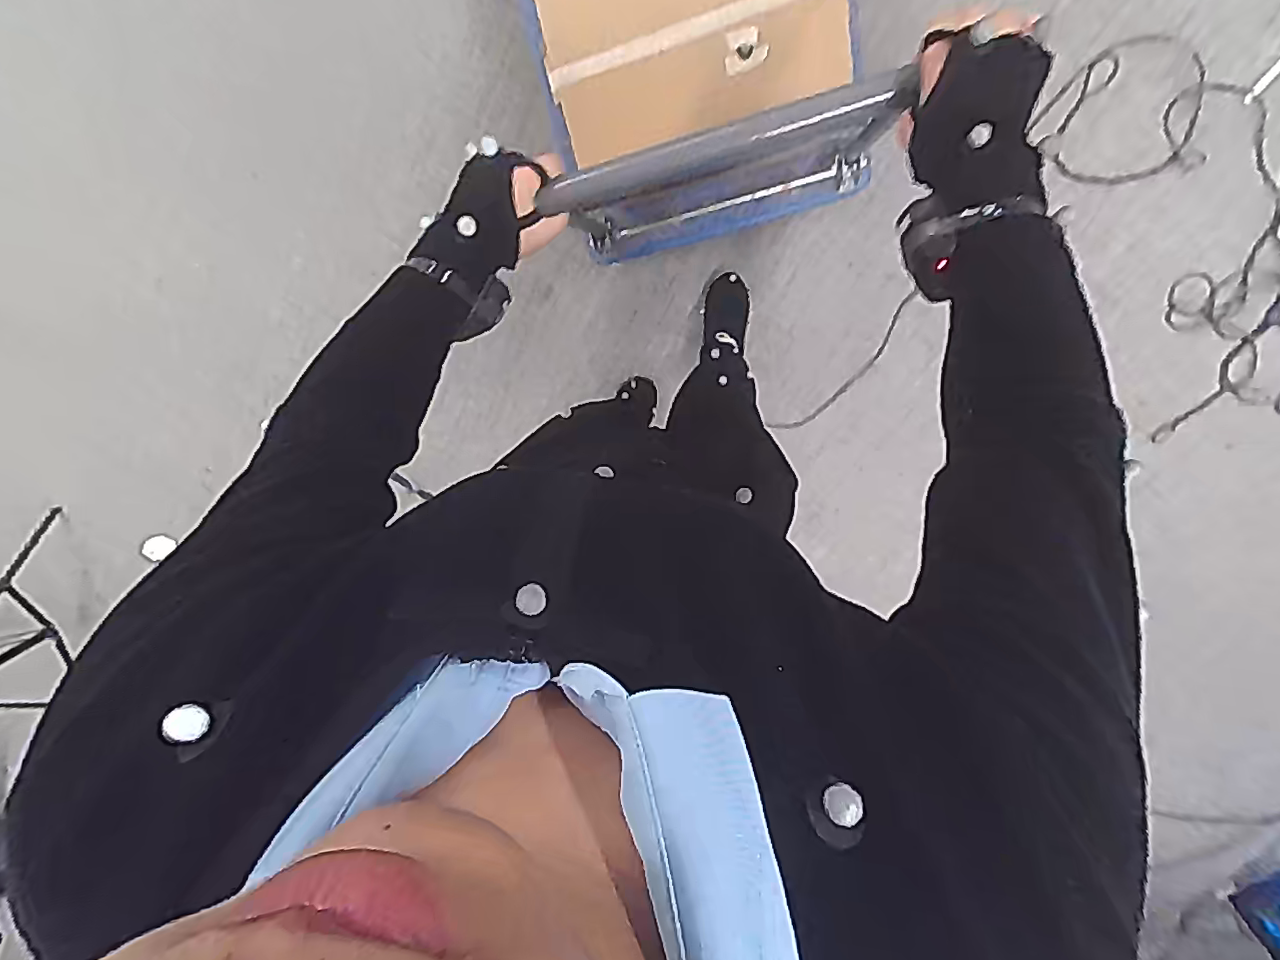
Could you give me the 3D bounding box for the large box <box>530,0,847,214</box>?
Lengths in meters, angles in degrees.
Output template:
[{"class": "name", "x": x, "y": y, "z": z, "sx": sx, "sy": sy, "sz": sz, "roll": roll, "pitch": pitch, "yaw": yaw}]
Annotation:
[{"class": "large box", "x": 0.081, "y": -0.665, "z": 0.885, "sx": 0.408, "sy": 0.320, "sz": 0.320, "roll": -11, "pitch": 111, "yaw": 11}]
